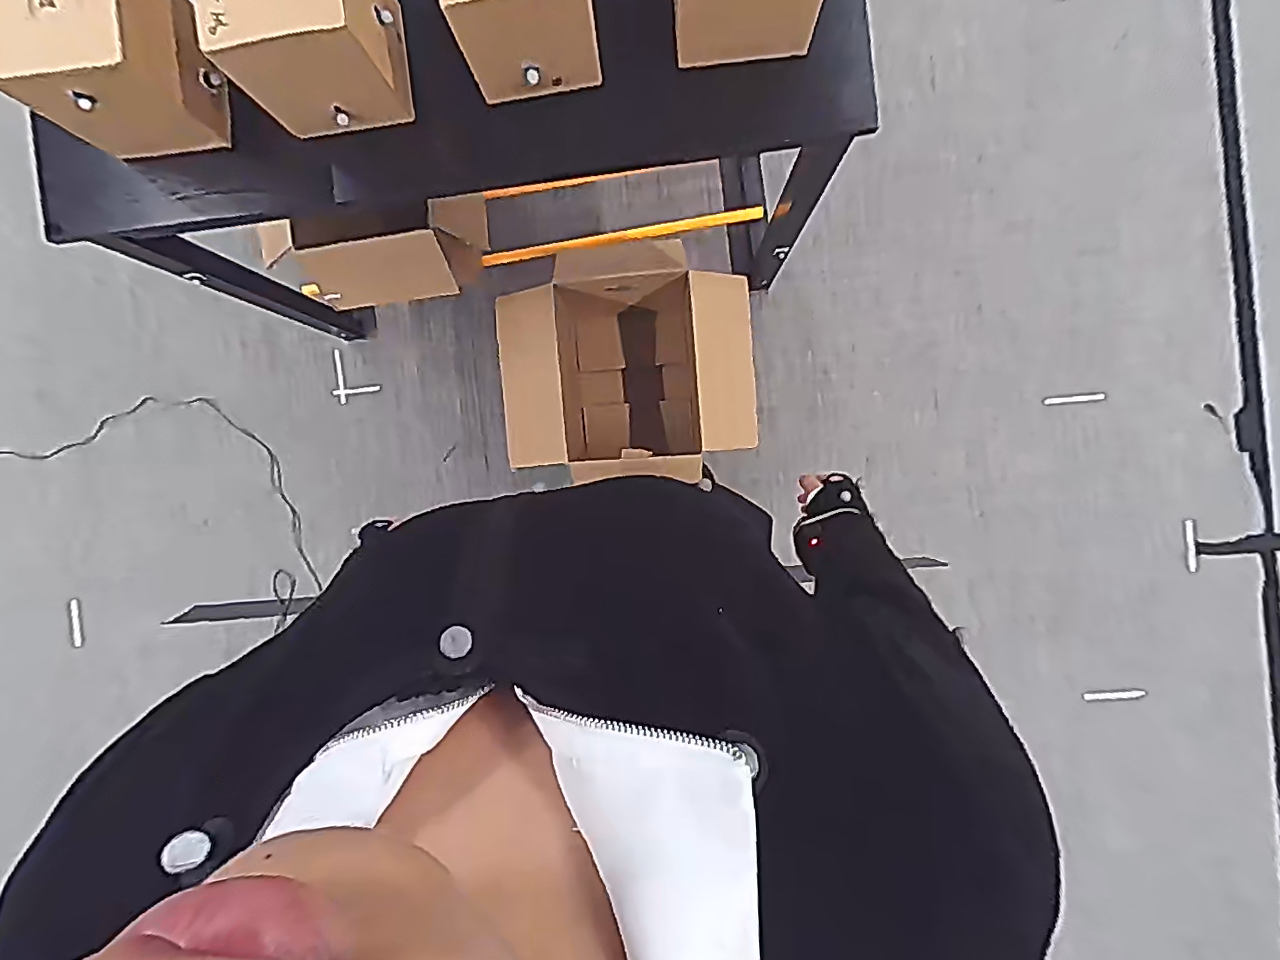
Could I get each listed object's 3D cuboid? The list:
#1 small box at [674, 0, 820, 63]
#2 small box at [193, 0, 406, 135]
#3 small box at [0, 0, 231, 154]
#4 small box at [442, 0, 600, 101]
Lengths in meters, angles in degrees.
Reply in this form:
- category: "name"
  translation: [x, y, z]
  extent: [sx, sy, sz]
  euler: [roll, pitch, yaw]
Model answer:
- category: "small box"
  translation: [0.131, -0.649, 0.650]
  extent: [0.179, 0.176, 0.168]
  euler: [-4, 90, 3]
- category: "small box"
  translation: [-0.415, -0.572, 0.680]
  extent: [0.179, 0.176, 0.168]
  euler: [-8, 91, 1]
- category: "small box"
  translation: [-0.677, -0.547, 0.691]
  extent: [0.179, 0.176, 0.168]
  euler: [-6, 93, 2]
- category: "small box"
  translation: [-0.147, -0.618, 0.665]
  extent: [0.168, 0.176, 0.179]
  euler: [-8, 92, 3]
